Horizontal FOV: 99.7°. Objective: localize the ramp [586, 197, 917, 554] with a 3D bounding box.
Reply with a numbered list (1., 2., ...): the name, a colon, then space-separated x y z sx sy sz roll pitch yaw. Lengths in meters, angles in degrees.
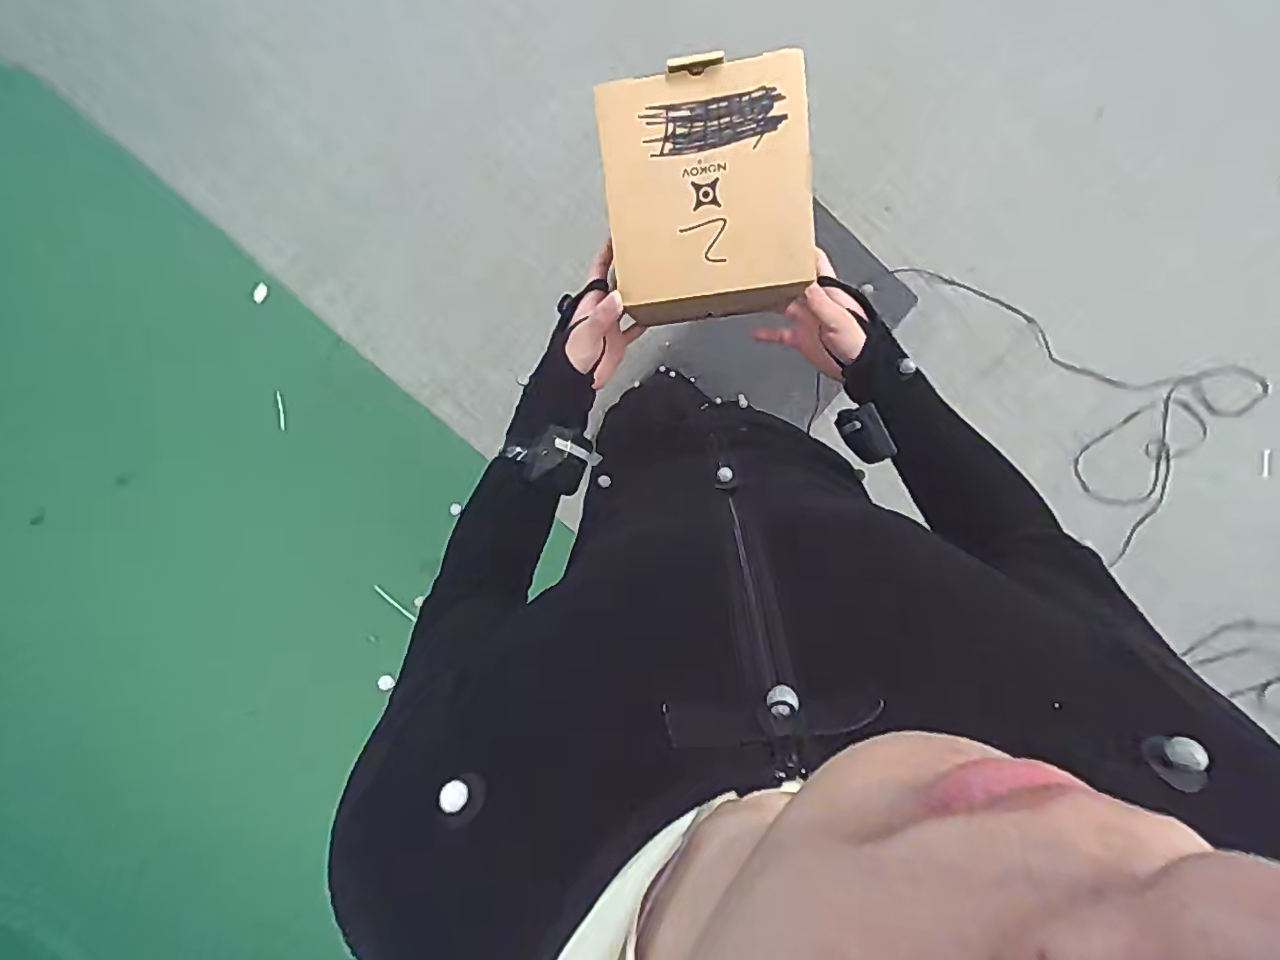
1. ramp: 0.335 -0.306 1.612 0.509 0.206 0.991 39 101 -5
